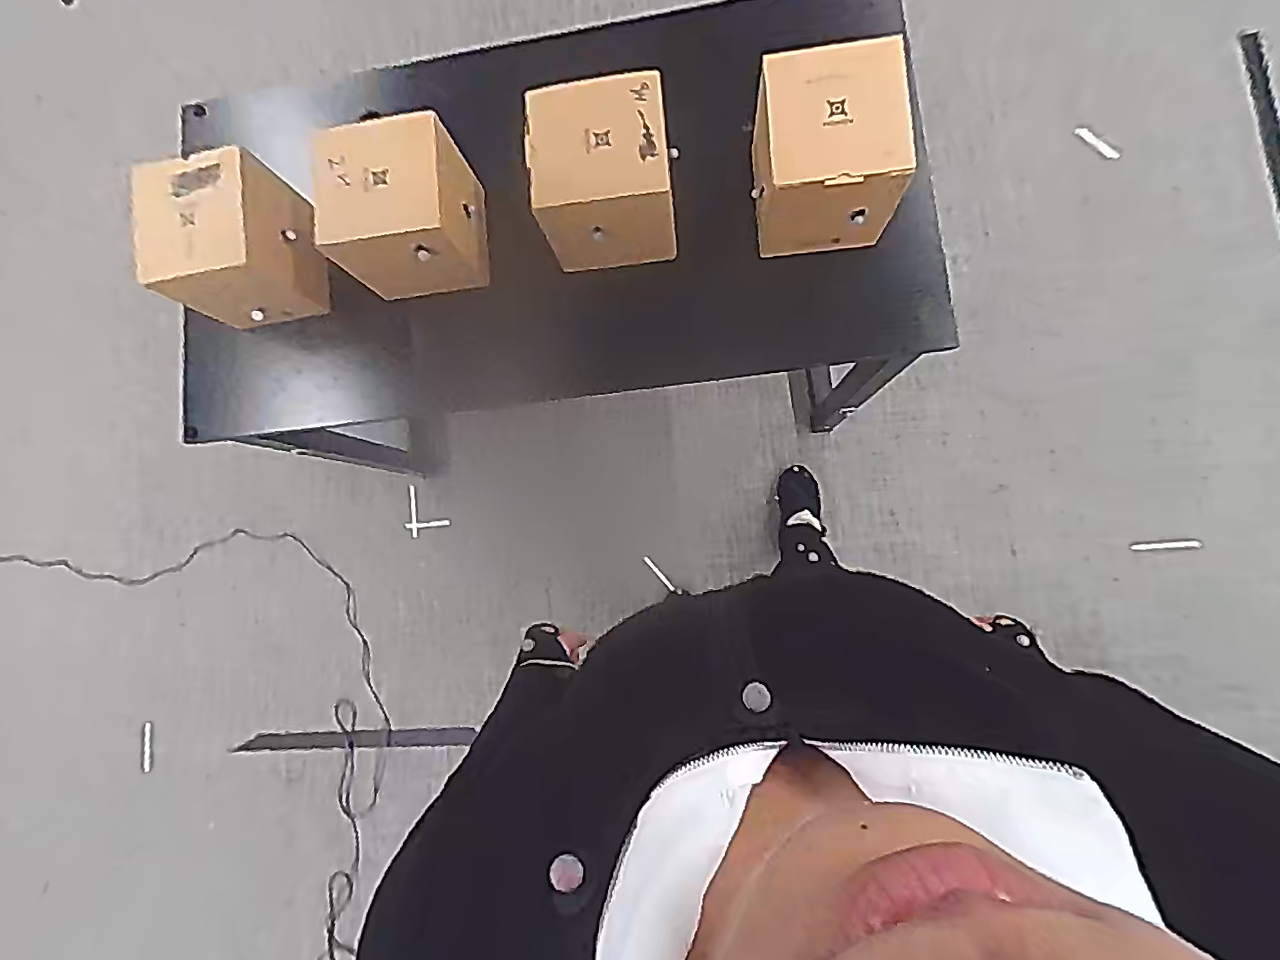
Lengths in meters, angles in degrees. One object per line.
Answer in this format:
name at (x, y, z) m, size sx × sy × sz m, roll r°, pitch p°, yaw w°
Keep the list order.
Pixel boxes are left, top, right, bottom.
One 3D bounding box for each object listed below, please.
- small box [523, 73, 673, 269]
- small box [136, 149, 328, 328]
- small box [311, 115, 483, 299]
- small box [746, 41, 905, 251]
small box at (-0.051, -0.418, 0.762) m, size 0.179 × 0.176 × 0.168 m, roll -5°, pitch 84°, yaw 7°
small box at (-0.605, -0.353, 0.819) m, size 0.168 × 0.176 × 0.179 m, roll -8°, pitch 85°, yaw 6°
small box at (-0.341, -0.385, 0.791) m, size 0.179 × 0.176 × 0.168 m, roll -7°, pitch 83°, yaw 5°
small box at (0.237, -0.431, 0.730) m, size 0.168 × 0.176 × 0.179 m, roll -4°, pitch 83°, yaw 6°
